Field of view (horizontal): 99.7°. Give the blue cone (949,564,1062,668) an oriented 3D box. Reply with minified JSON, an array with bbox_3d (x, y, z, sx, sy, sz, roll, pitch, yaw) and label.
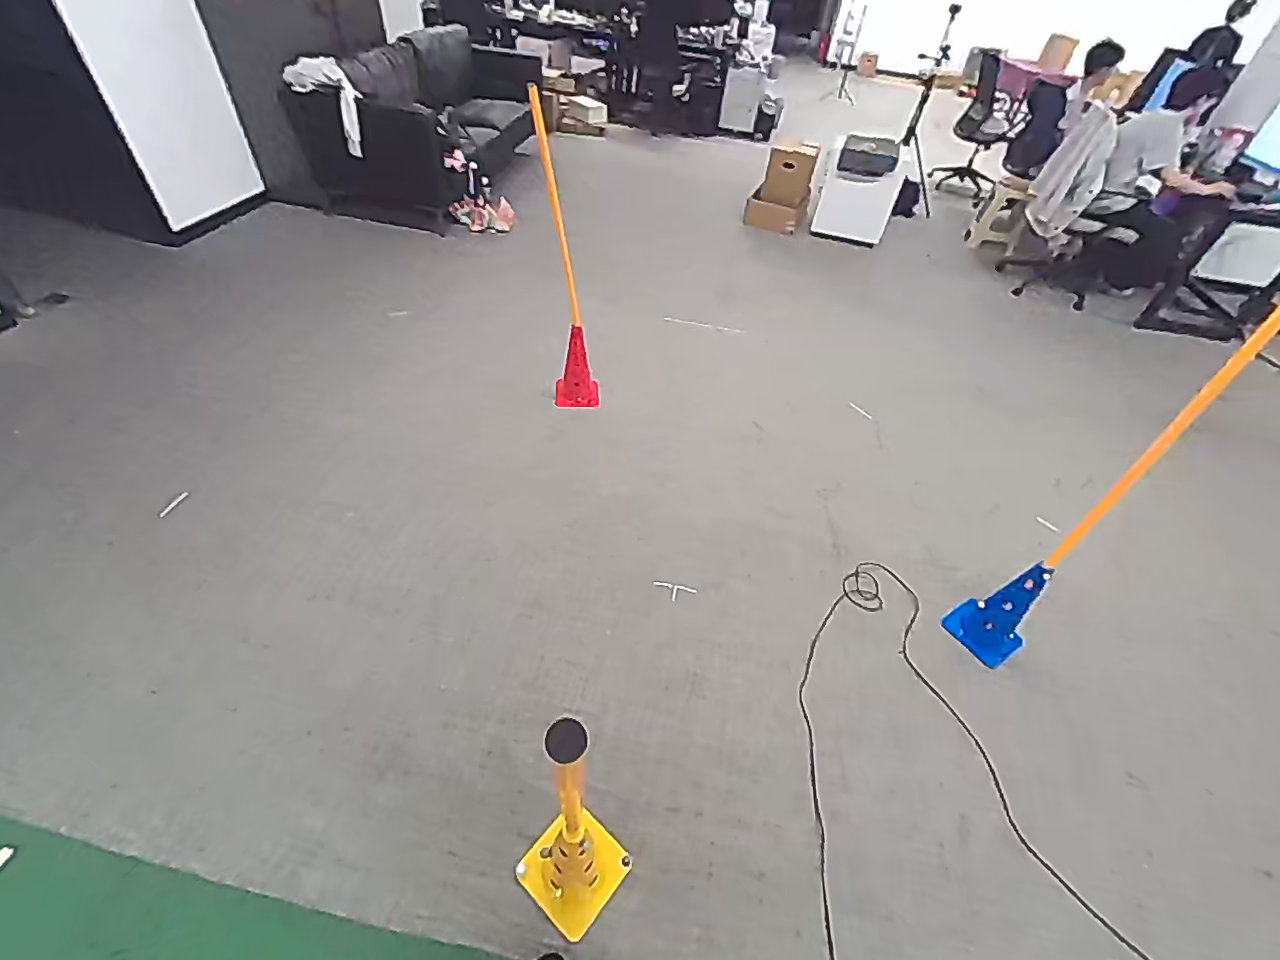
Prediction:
[{"bbox_3d":[1.142,0.381,1.654,0.193,0.380,0.192,-21,51,-28],"label":"blue cone"}]
